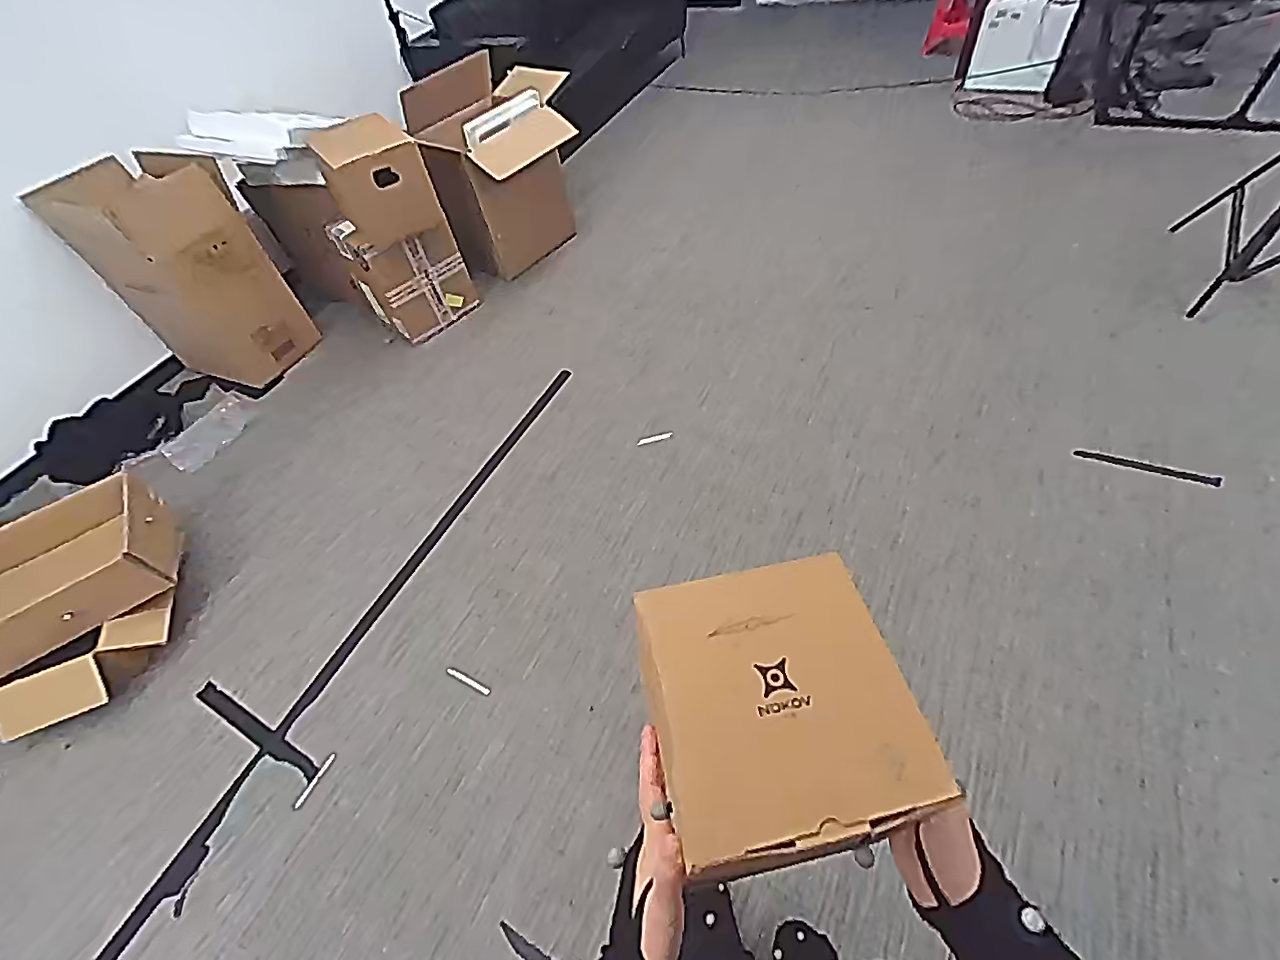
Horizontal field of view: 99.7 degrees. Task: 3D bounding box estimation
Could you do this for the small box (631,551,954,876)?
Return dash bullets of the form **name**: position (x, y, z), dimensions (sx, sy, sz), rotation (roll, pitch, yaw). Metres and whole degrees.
- **small box**: position (0.092, 0.185, 0.419), dimensions (0.168, 0.176, 0.179), rotation (-10, 49, -6)
